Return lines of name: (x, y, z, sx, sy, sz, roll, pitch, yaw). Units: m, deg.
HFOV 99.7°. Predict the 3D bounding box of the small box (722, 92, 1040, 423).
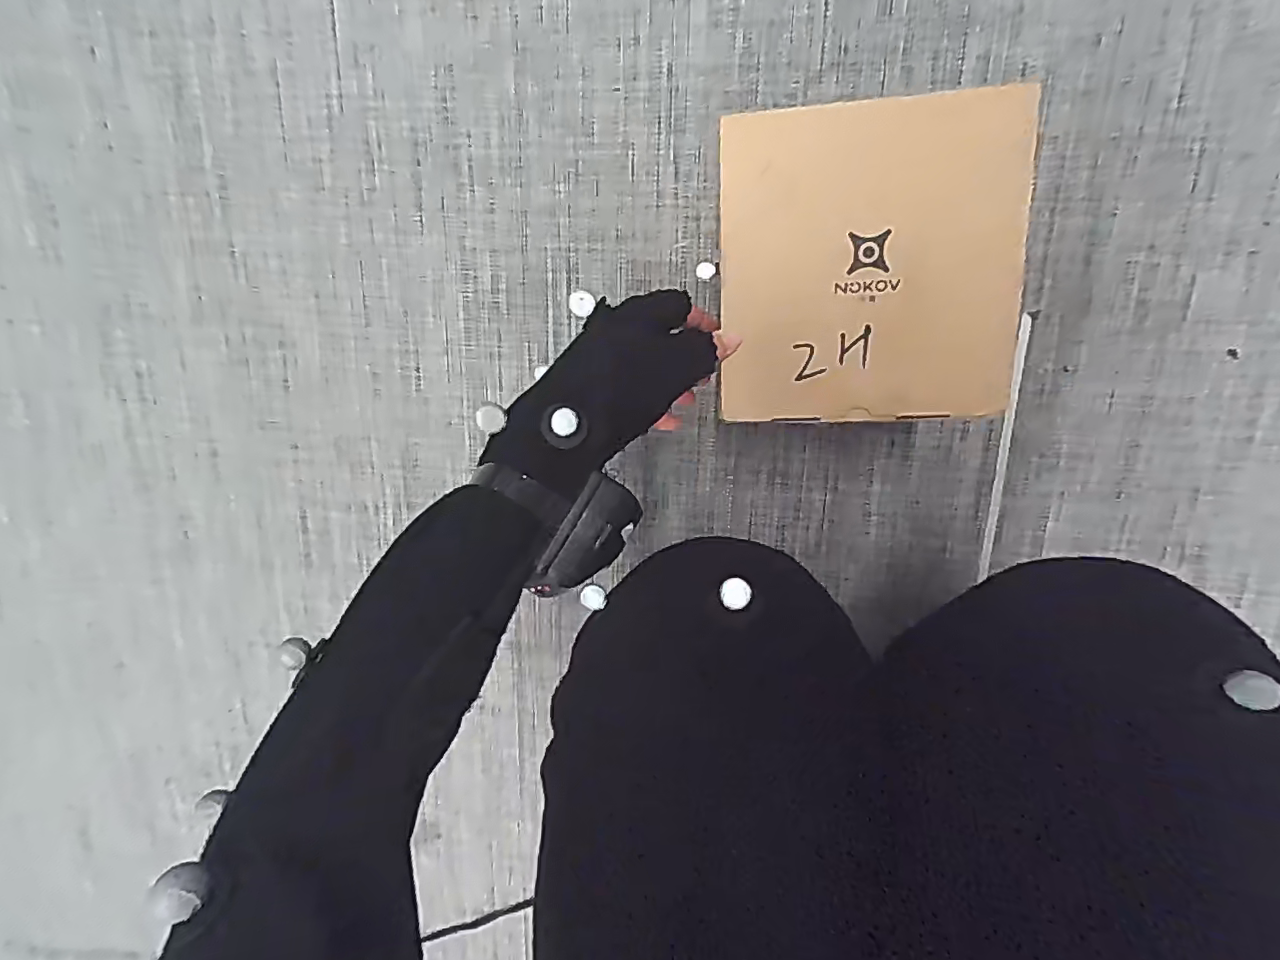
small box: (0.144, -0.135, 0.388, 0.168, 0.176, 0.179, 0, 102, 9)
